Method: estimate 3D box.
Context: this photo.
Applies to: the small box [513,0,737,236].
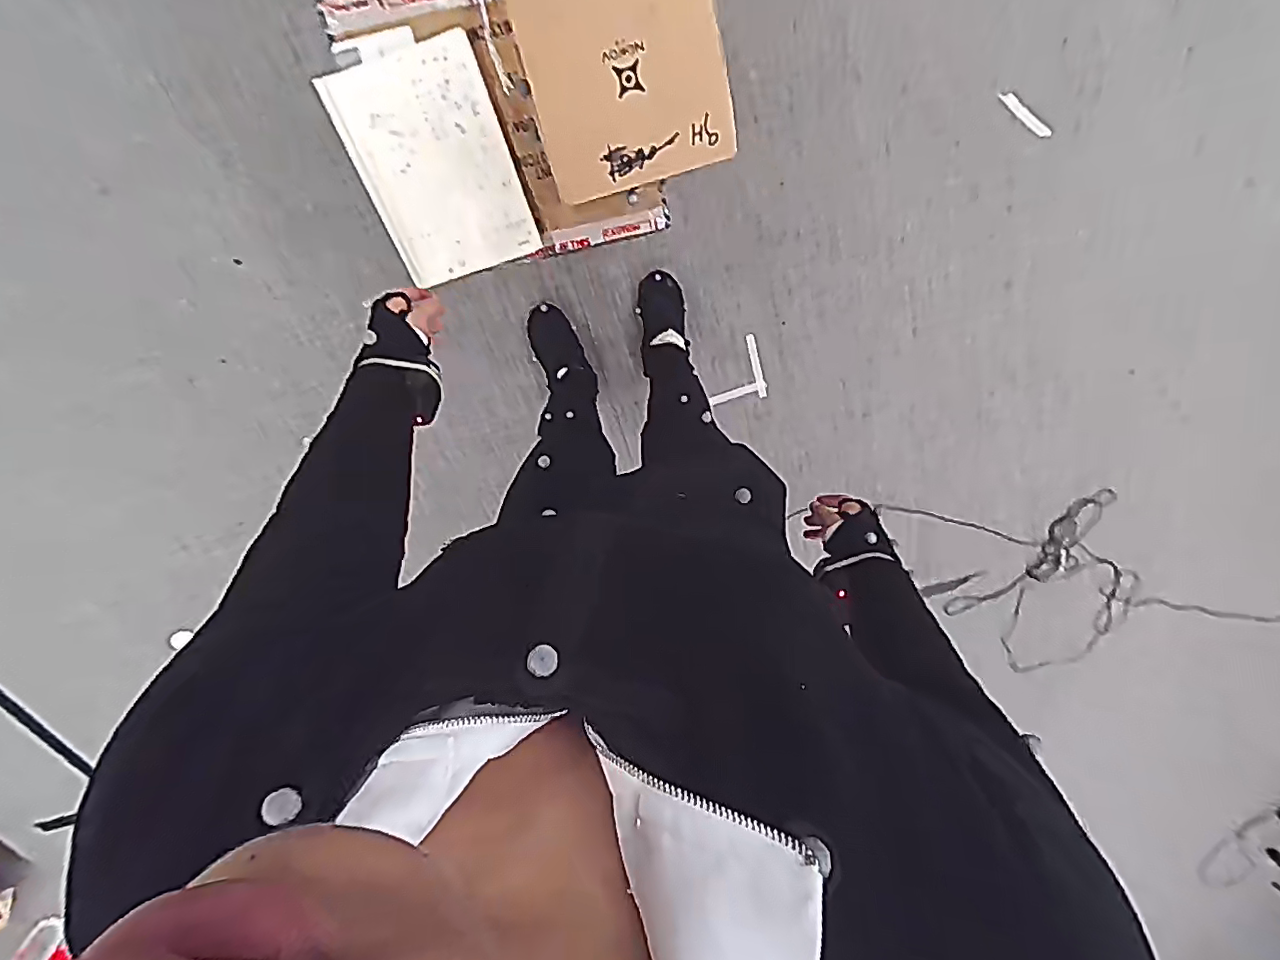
[{"bbox_3d":[-0.017,-0.357,0.541,0.168,0.176,0.179,-17,117,0],"label":"small box"}]
